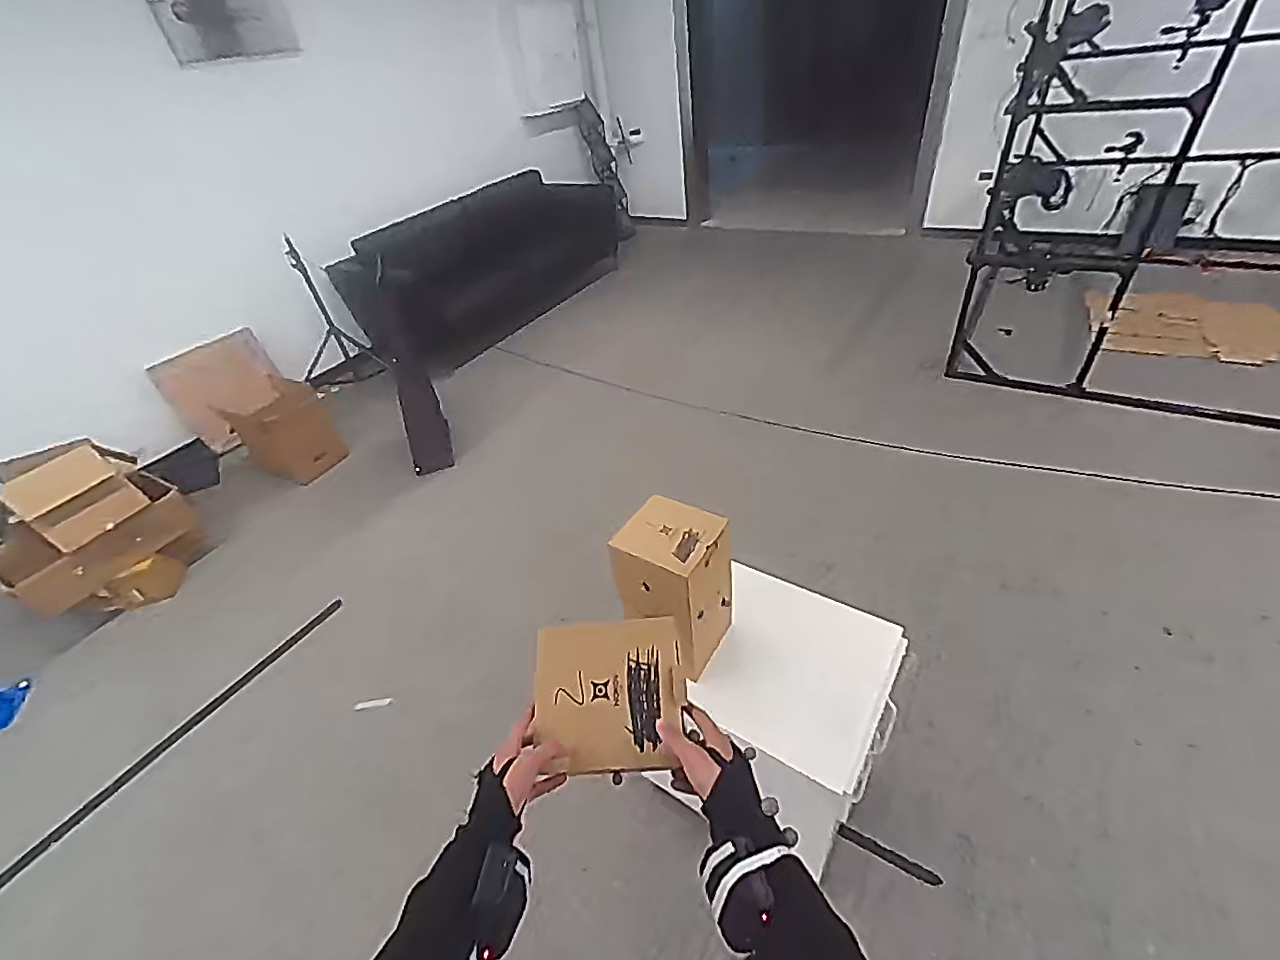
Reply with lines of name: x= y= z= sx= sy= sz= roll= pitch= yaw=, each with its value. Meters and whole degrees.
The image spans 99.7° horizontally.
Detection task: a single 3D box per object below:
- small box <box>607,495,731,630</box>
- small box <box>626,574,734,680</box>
small box: x=0.064 y=0.161 z=1.045 sx=0.179 sy=0.176 sz=0.168 roll=19 pitch=46 yaw=30
small box: x=0.089 y=0.285 z=1.151 sx=0.168 sy=0.176 sz=0.179 roll=18 pitch=46 yaw=30
